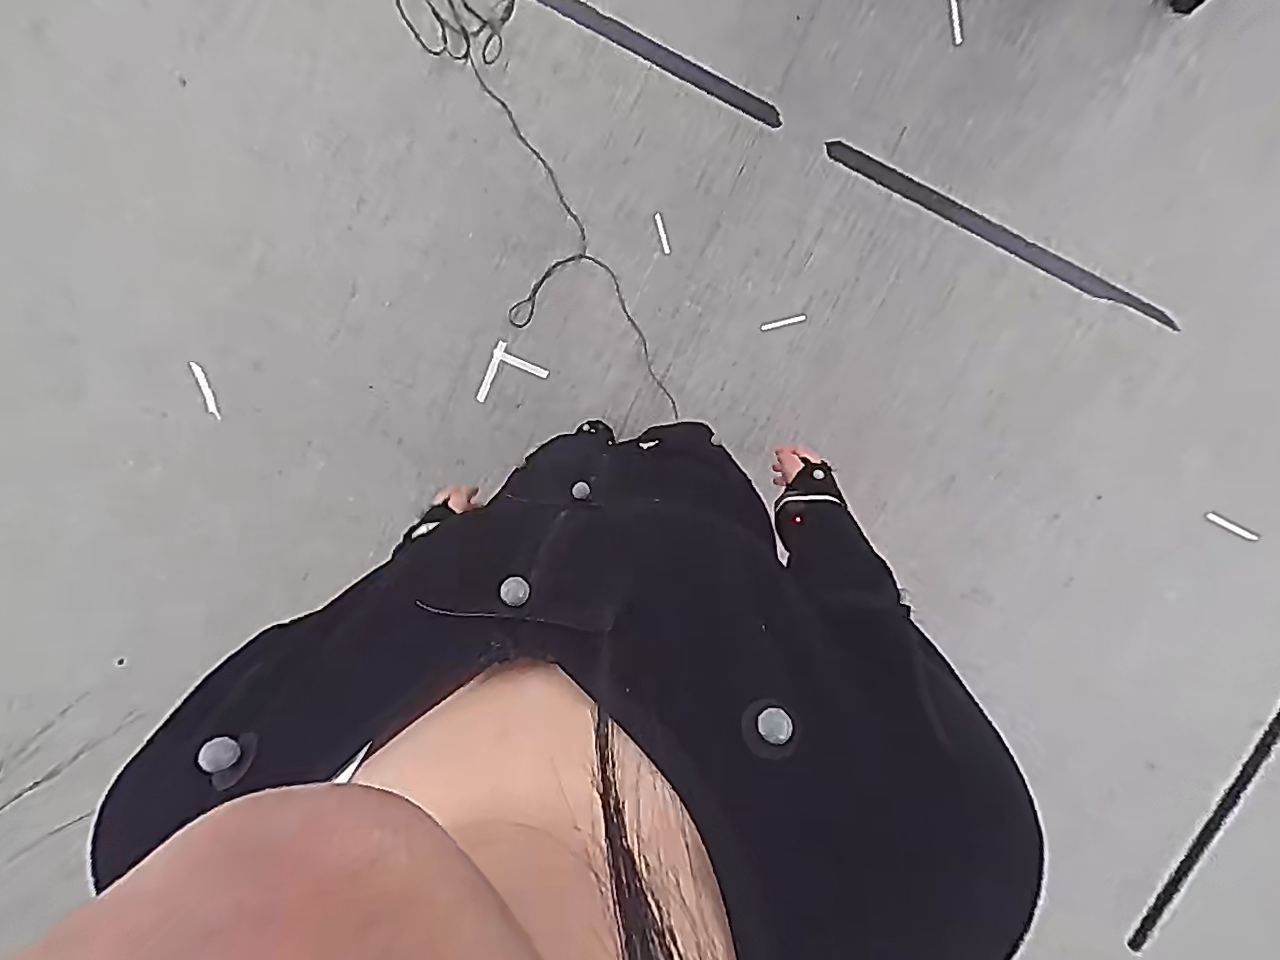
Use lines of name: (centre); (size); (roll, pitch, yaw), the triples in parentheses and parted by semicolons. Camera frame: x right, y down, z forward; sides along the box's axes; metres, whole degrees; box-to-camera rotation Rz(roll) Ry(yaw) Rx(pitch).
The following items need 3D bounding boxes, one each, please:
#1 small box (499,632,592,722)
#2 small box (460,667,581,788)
small box: (-0.198, 0.405, 0.979); (0.168, 0.176, 0.179); (31, 94, -2)
small box: (-0.200, 0.417, 0.816); (0.168, 0.176, 0.179); (28, 96, -3)
